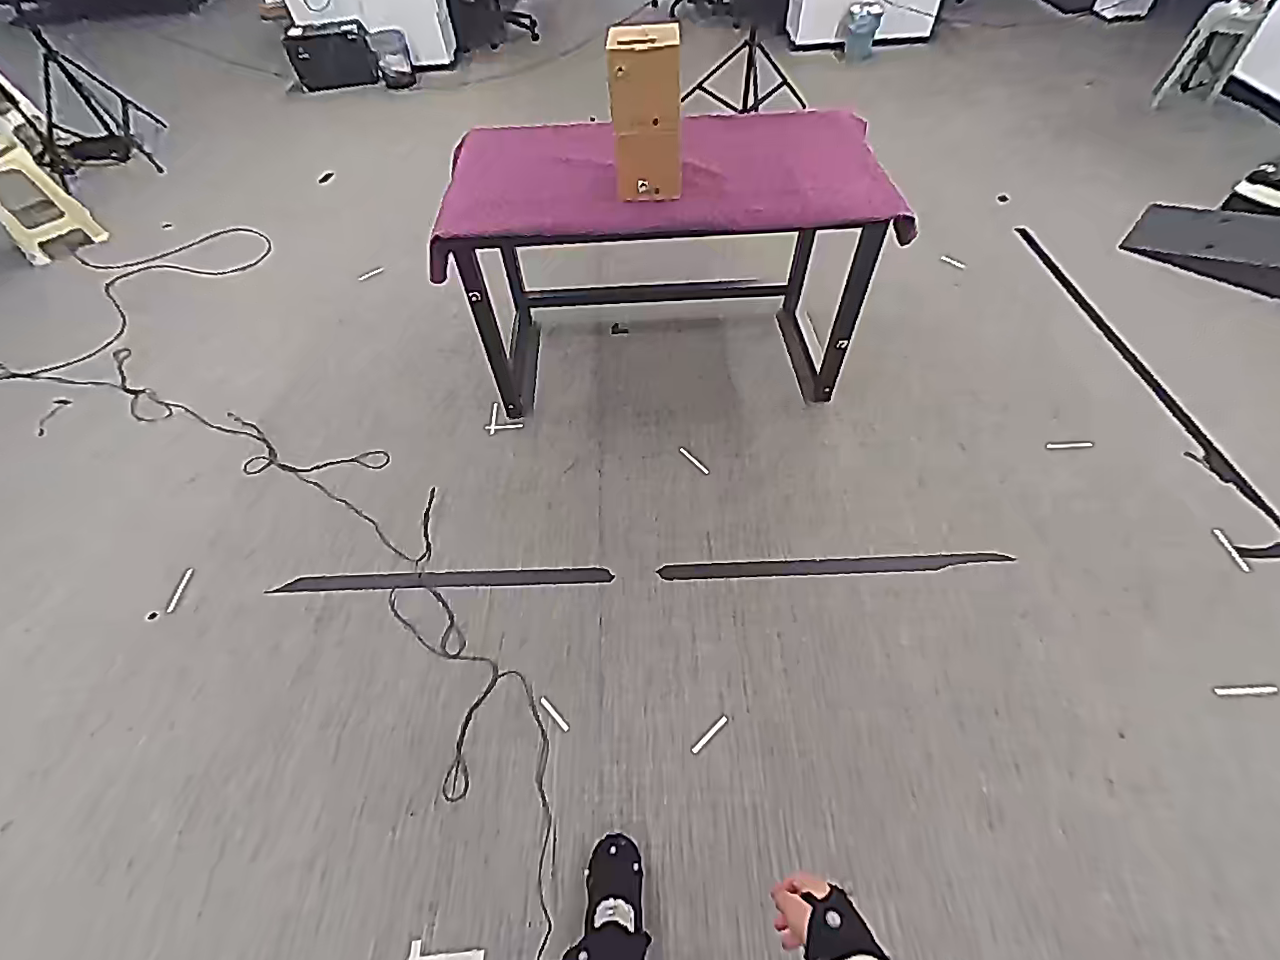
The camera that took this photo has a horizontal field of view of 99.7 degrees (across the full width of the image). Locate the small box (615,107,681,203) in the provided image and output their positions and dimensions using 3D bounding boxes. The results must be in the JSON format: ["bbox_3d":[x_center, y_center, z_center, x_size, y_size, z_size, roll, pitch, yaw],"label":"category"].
[{"bbox_3d":[0.023,-0.857,1.430,0.168,0.176,0.179,-2,54,3],"label":"small box"}]
